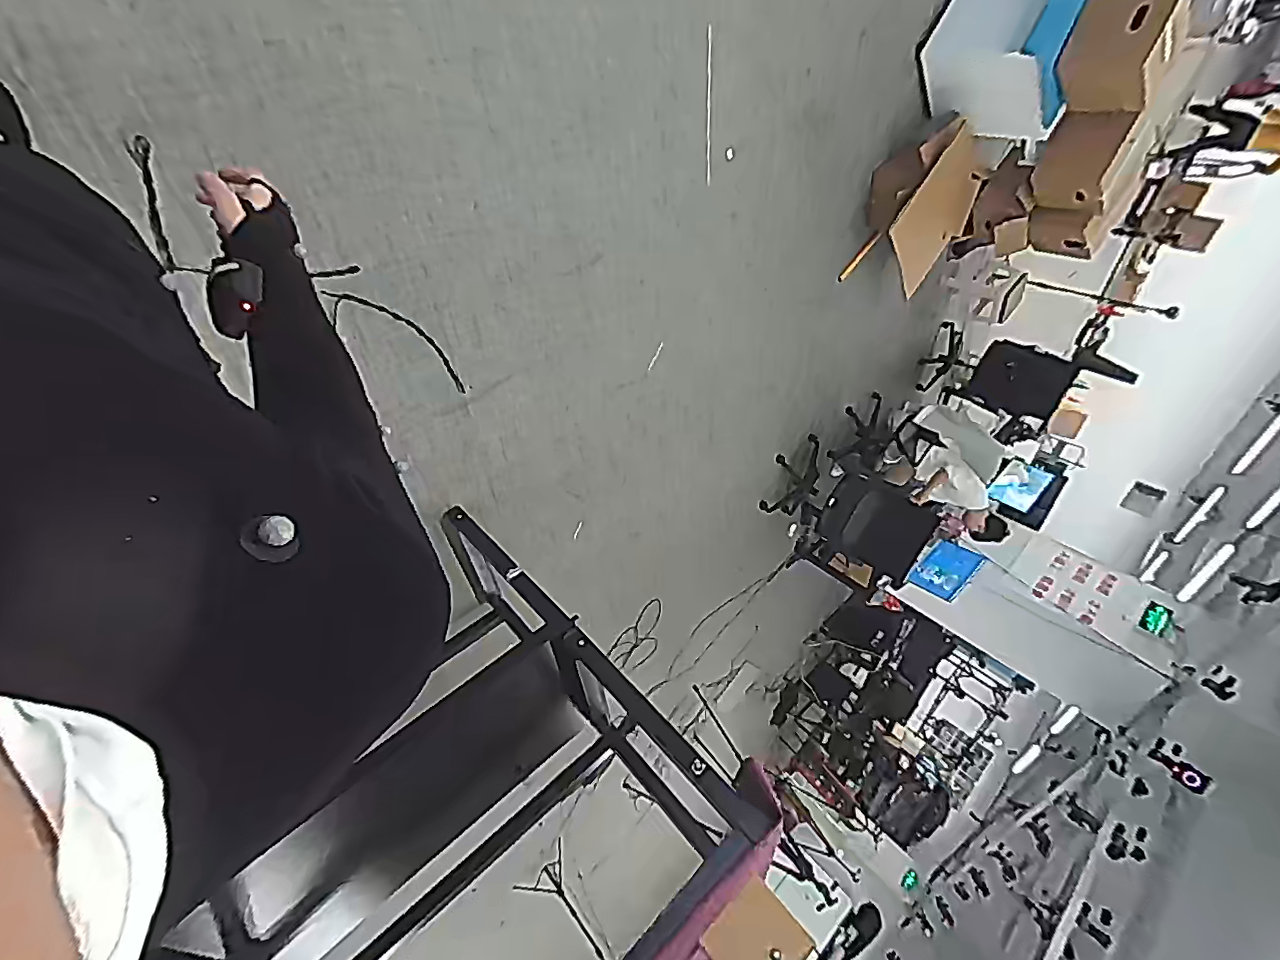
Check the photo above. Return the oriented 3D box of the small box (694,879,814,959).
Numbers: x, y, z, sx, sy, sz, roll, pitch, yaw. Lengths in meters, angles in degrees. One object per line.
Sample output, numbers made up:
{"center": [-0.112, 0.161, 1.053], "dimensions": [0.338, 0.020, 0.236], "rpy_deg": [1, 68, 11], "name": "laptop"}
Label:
{"center": [0.233, 0.986, 1.131], "dimensions": [0.179, 0.176, 0.168], "rpy_deg": [-34, 139, -25], "name": "small box"}
